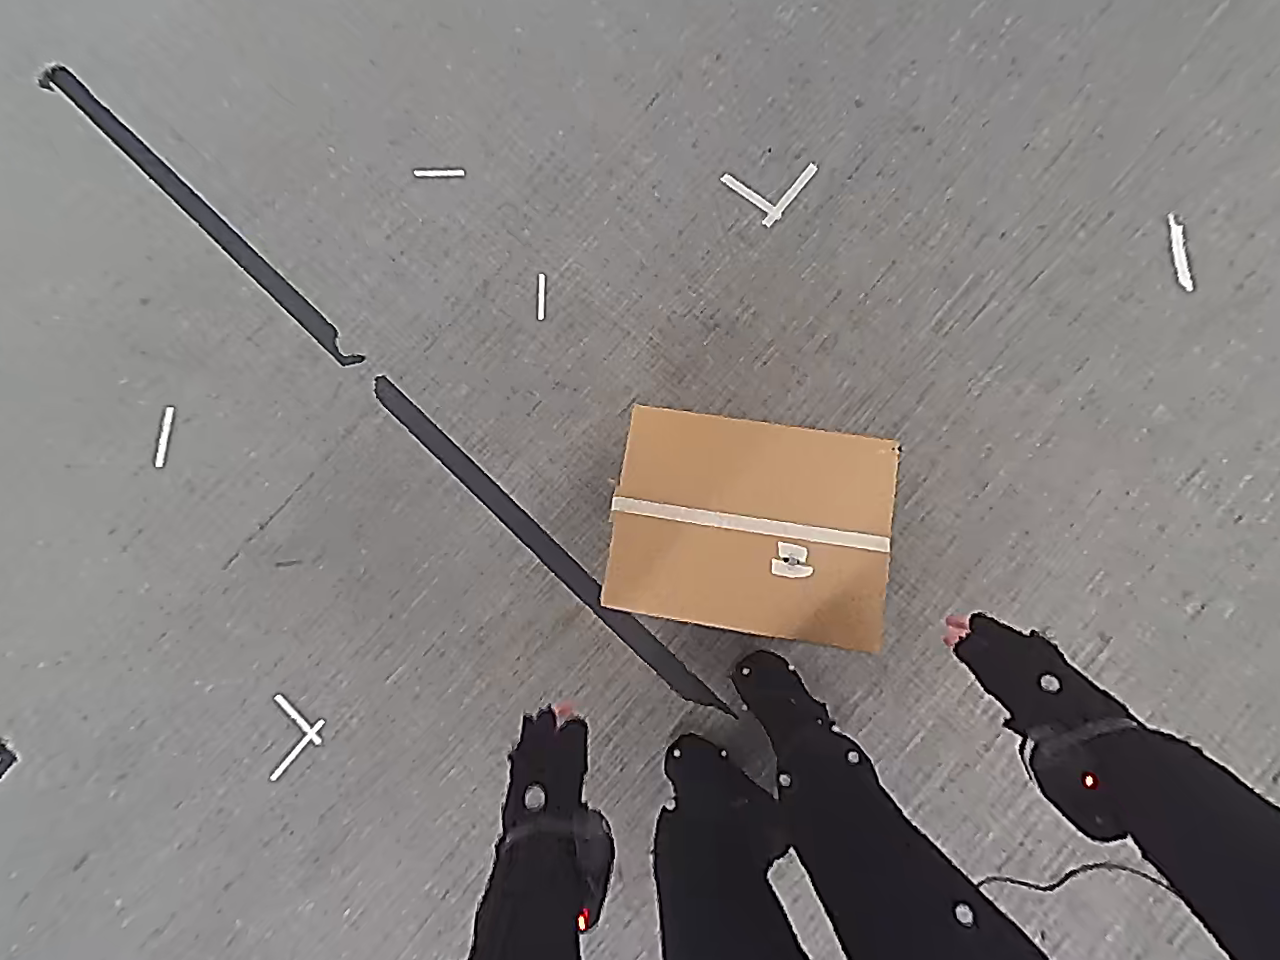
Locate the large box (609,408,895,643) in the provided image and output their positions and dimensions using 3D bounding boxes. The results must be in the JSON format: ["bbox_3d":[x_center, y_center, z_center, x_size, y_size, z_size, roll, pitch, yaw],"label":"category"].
[{"bbox_3d":[0.176,0.082,0.957,0.408,0.320,0.320,8,84,5],"label":"large box"}]
